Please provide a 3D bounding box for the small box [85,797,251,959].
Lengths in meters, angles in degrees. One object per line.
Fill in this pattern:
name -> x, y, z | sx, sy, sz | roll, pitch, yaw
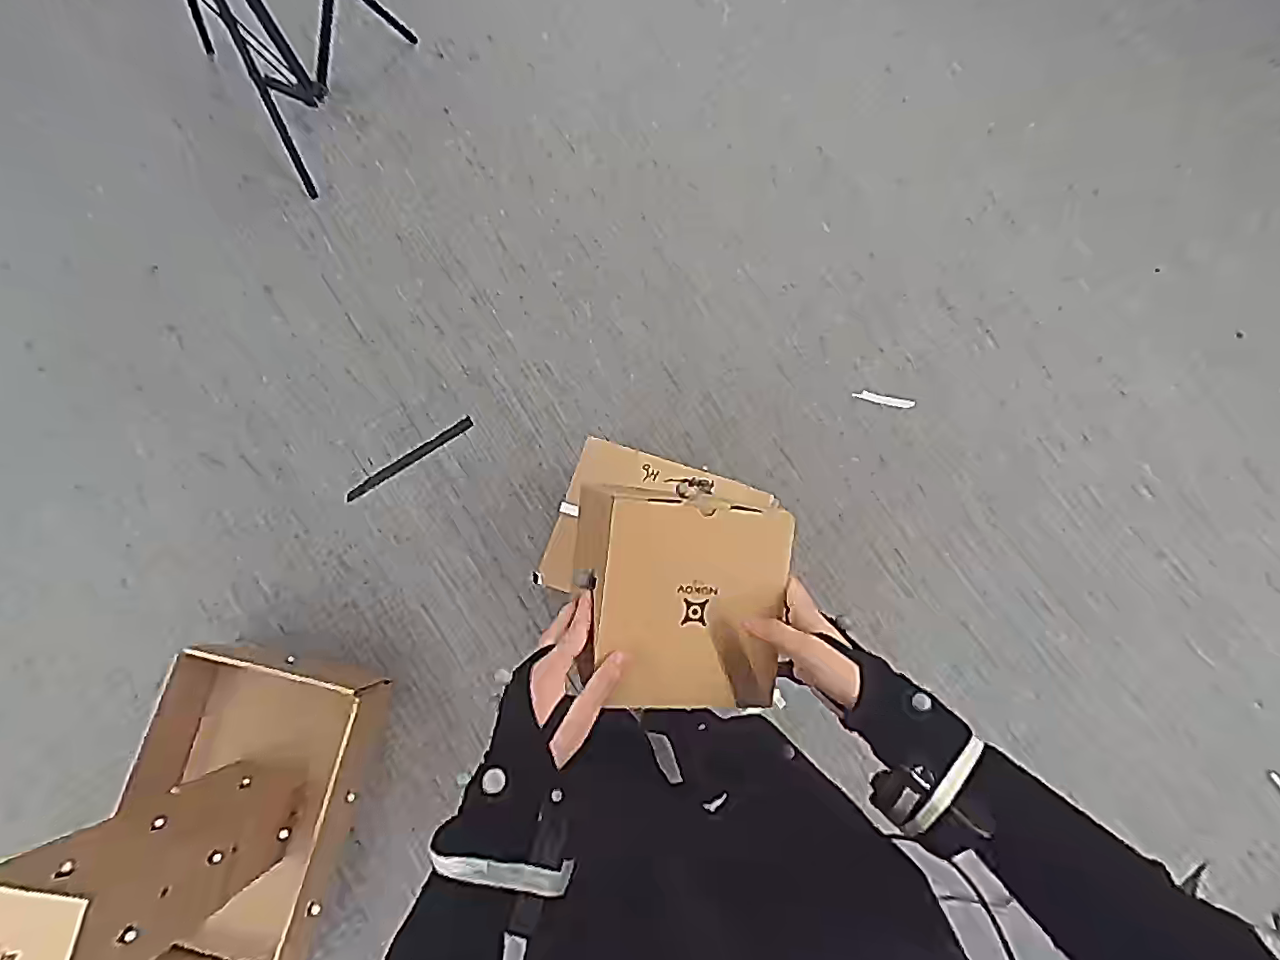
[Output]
small box -> -0.835, 0.681, 0.946 | 0.179, 0.176, 0.168 | 8, 78, 2

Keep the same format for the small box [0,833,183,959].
small box -> -0.828, 0.643, 0.784 | 0.179, 0.176, 0.168 | 8, 77, 0

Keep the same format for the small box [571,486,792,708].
small box -> 0.027, 0.104, 0.538 | 0.168, 0.176, 0.179 | 7, 91, -14

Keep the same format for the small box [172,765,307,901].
small box -> -0.834, 0.707, 1.106 | 0.179, 0.176, 0.168 | 13, 79, 1

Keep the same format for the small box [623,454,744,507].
small box -> 0.041, 0.083, 0.811 | 0.168, 0.176, 0.179 | 17, 80, 1
